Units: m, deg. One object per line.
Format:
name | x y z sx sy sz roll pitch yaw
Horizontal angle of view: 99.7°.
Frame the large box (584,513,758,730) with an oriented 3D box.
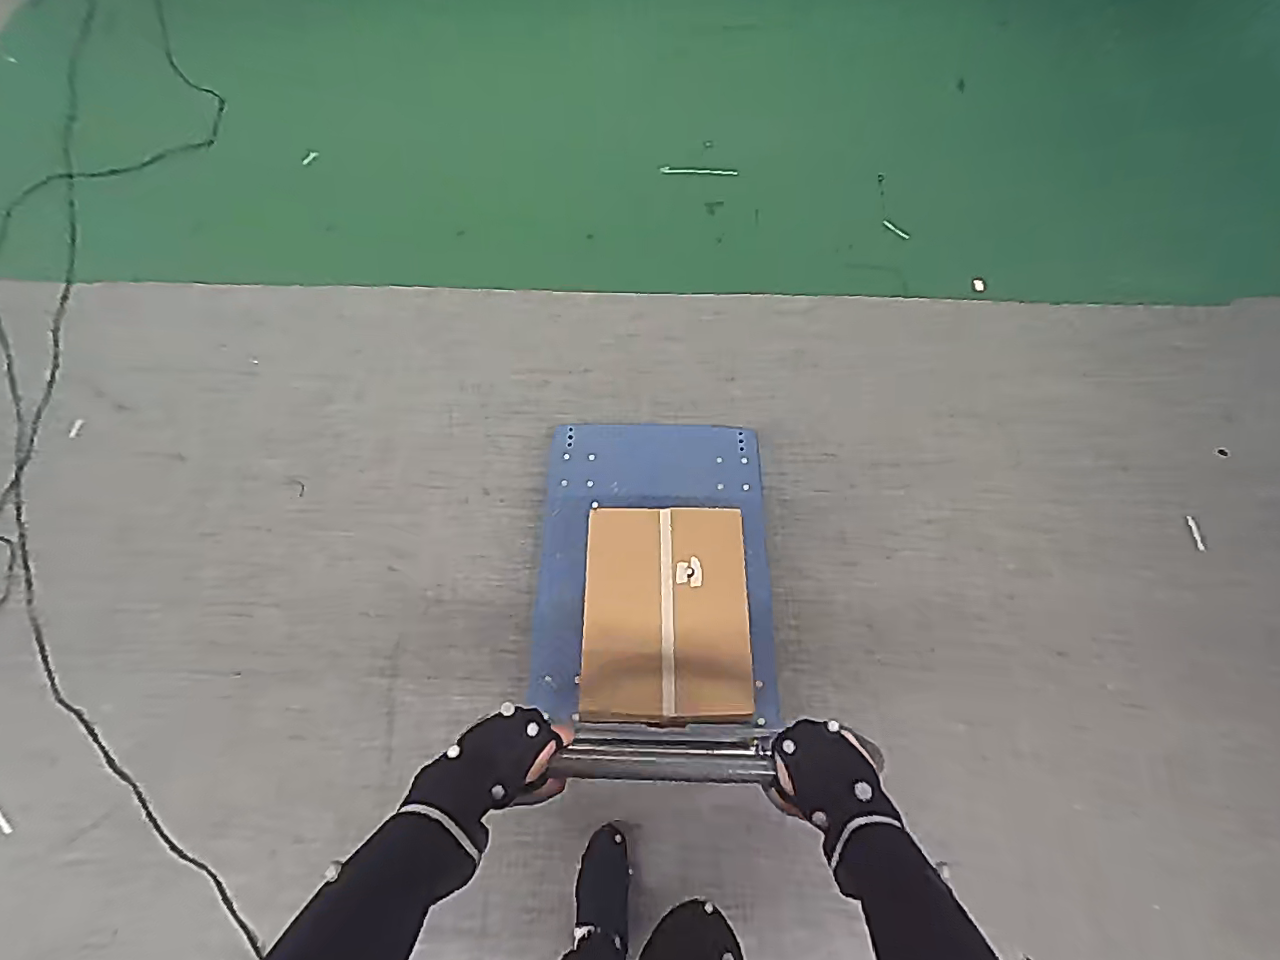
large box | 0.058 0.314 1.167 0.320 0.320 0.408 1 64 0
